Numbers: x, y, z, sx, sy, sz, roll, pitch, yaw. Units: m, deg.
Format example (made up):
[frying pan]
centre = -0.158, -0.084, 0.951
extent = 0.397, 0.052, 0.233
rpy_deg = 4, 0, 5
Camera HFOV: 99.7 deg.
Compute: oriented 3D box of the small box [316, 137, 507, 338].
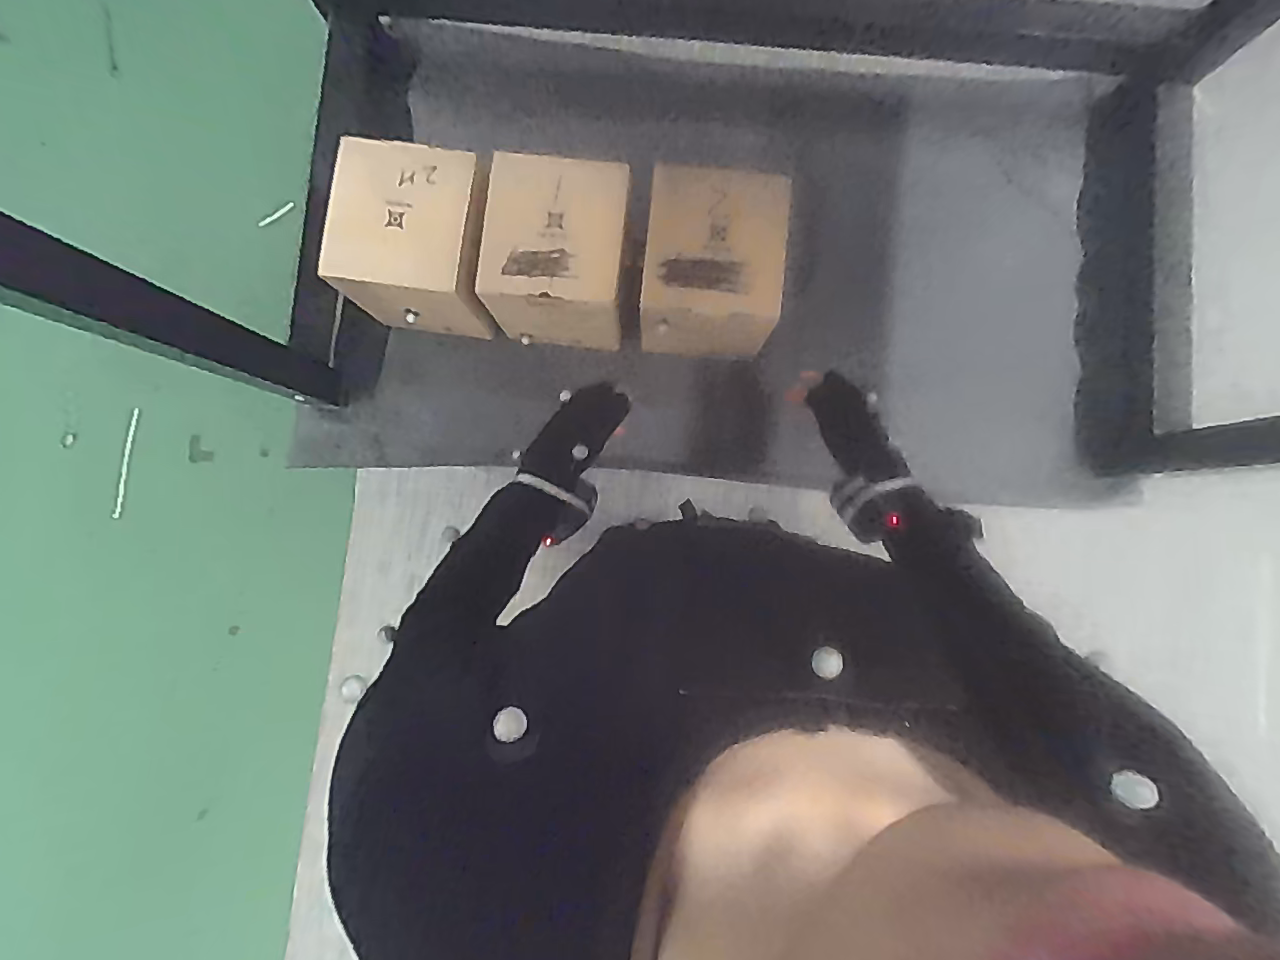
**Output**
[small box]
centre = -0.283, -0.302, 0.709
extent = 0.168, 0.176, 0.179
rpy_deg = 8, 86, 0
